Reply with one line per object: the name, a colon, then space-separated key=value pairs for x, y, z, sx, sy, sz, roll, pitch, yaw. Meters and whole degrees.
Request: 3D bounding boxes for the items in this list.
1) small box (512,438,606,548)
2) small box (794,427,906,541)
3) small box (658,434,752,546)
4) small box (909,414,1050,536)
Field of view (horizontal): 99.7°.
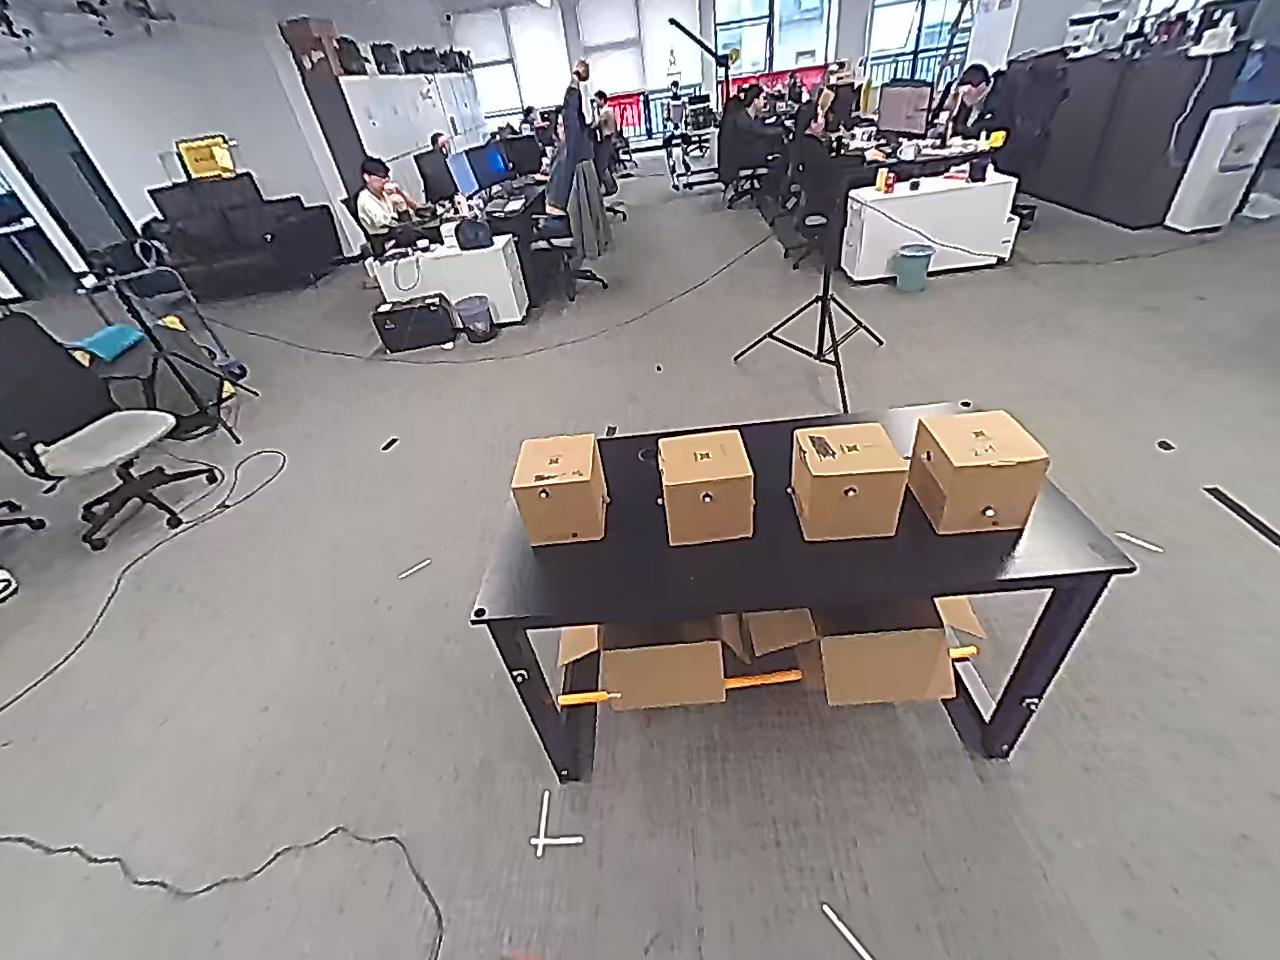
small box: x=-0.170 y=0.027 z=1.197 sx=0.168 sy=0.176 sz=0.179 roll=-6 pitch=36 yaw=4
small box: x=0.412 y=0.011 z=1.096 sx=0.179 sy=0.176 sz=0.168 roll=-4 pitch=37 yaw=6
small box: x=0.136 y=0.024 z=1.142 sx=0.179 sy=0.176 sz=0.168 roll=-6 pitch=38 yaw=2
small box: x=0.655 y=-0.010 z=1.072 sx=0.168 sy=0.176 sz=0.179 roll=-5 pitch=36 yaw=7
